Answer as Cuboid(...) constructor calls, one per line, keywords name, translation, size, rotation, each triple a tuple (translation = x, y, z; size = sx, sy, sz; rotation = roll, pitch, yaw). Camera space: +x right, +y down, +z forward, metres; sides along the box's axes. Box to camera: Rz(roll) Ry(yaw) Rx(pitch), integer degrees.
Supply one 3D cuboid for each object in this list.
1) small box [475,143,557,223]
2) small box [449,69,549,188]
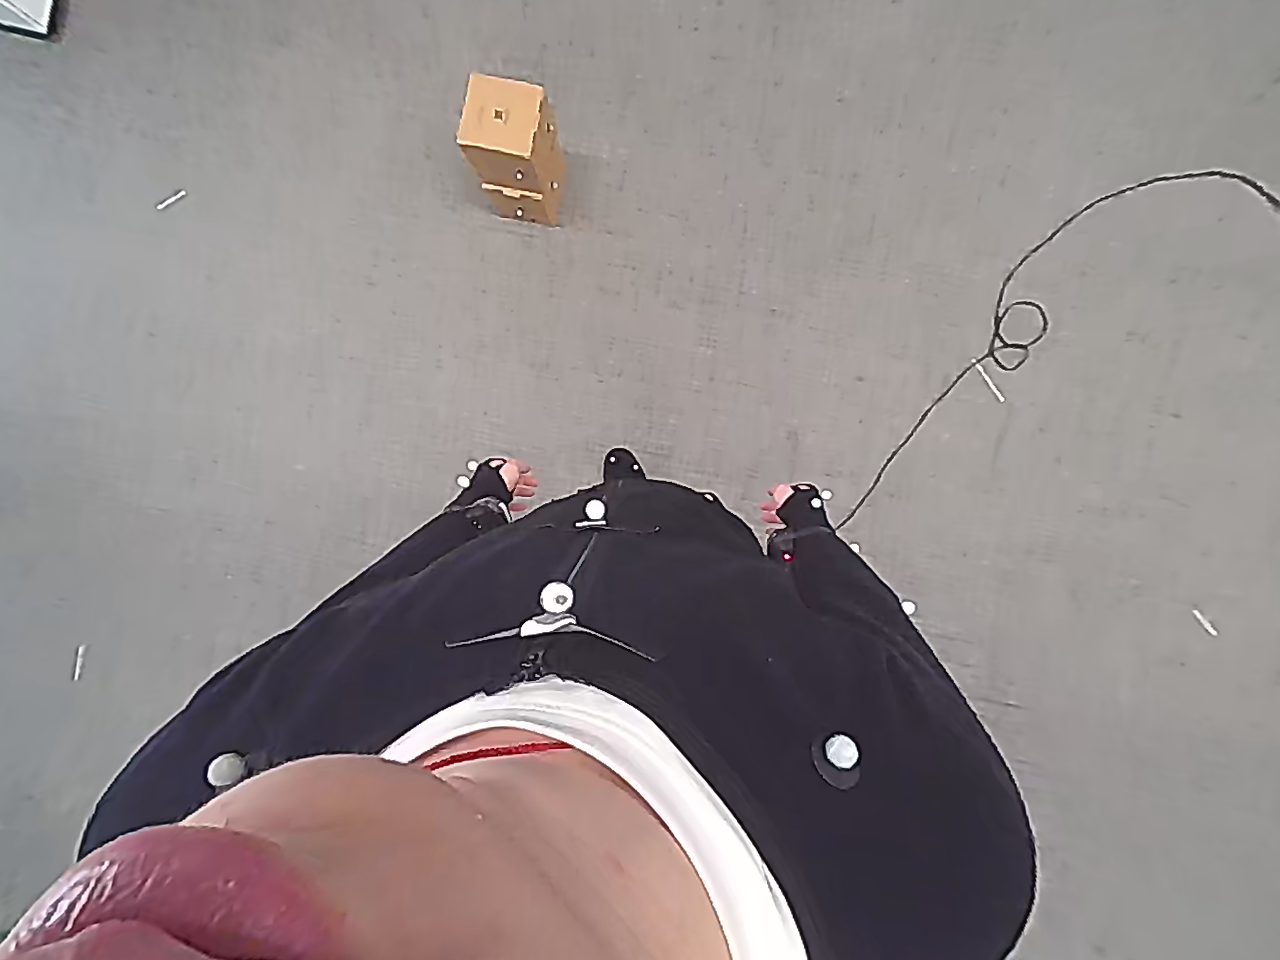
Cuboid(name="small box", translation=(-0.330, -0.828, 1.473), size=(0.168, 0.176, 0.179), rotation=(10, 92, 3))
Cuboid(name="small box", translation=(-0.328, -0.827, 1.291), size=(0.179, 0.176, 0.168), rotation=(11, 91, 2))
